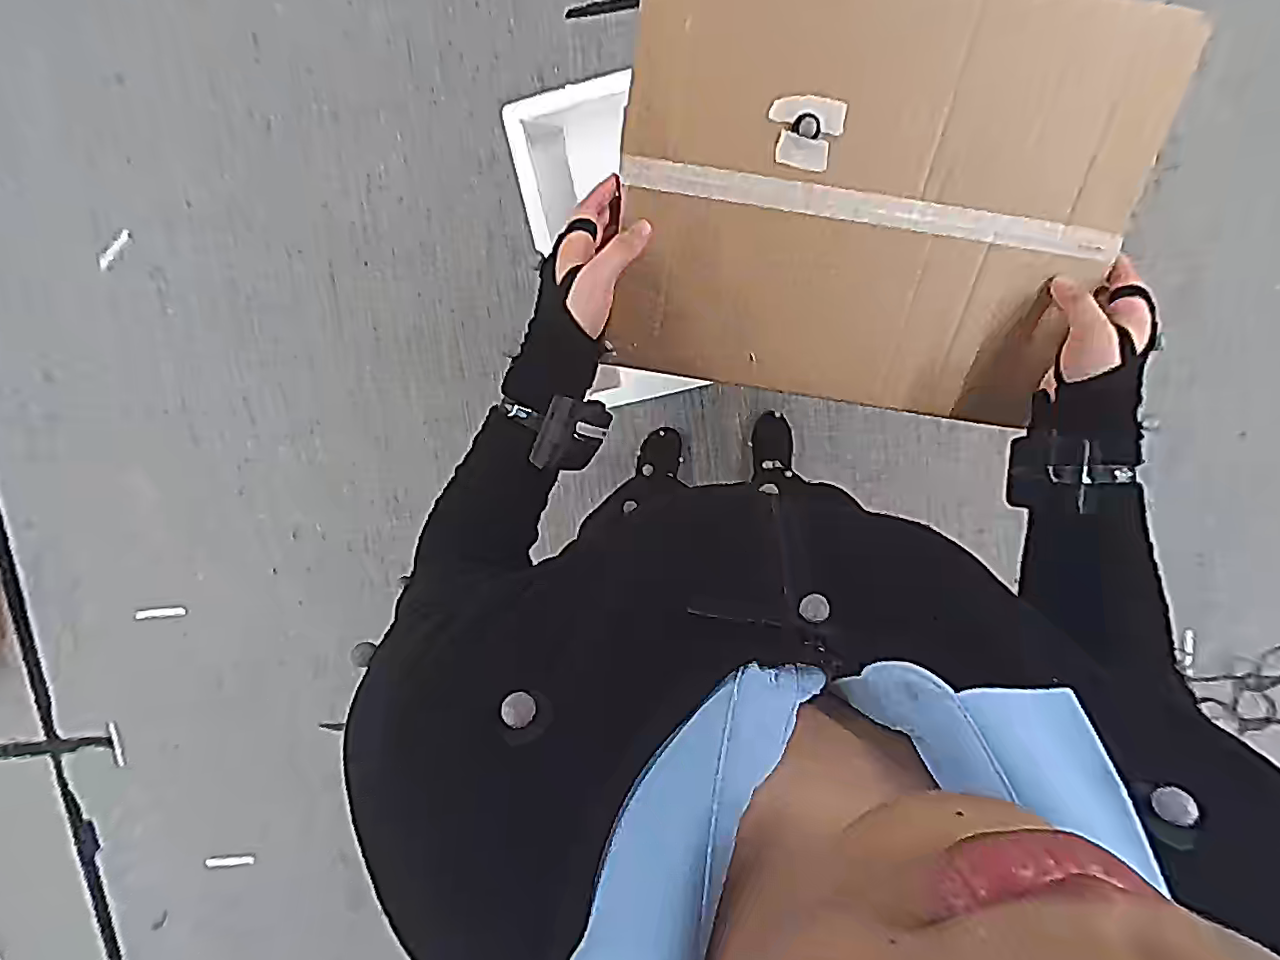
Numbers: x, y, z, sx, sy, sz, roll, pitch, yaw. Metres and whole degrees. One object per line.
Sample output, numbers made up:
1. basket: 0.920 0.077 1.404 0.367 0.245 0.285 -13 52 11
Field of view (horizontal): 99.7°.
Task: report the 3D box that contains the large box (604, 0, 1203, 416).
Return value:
1. large box: 0.189 -0.278 0.570 0.408 0.320 0.320 8 112 -1
